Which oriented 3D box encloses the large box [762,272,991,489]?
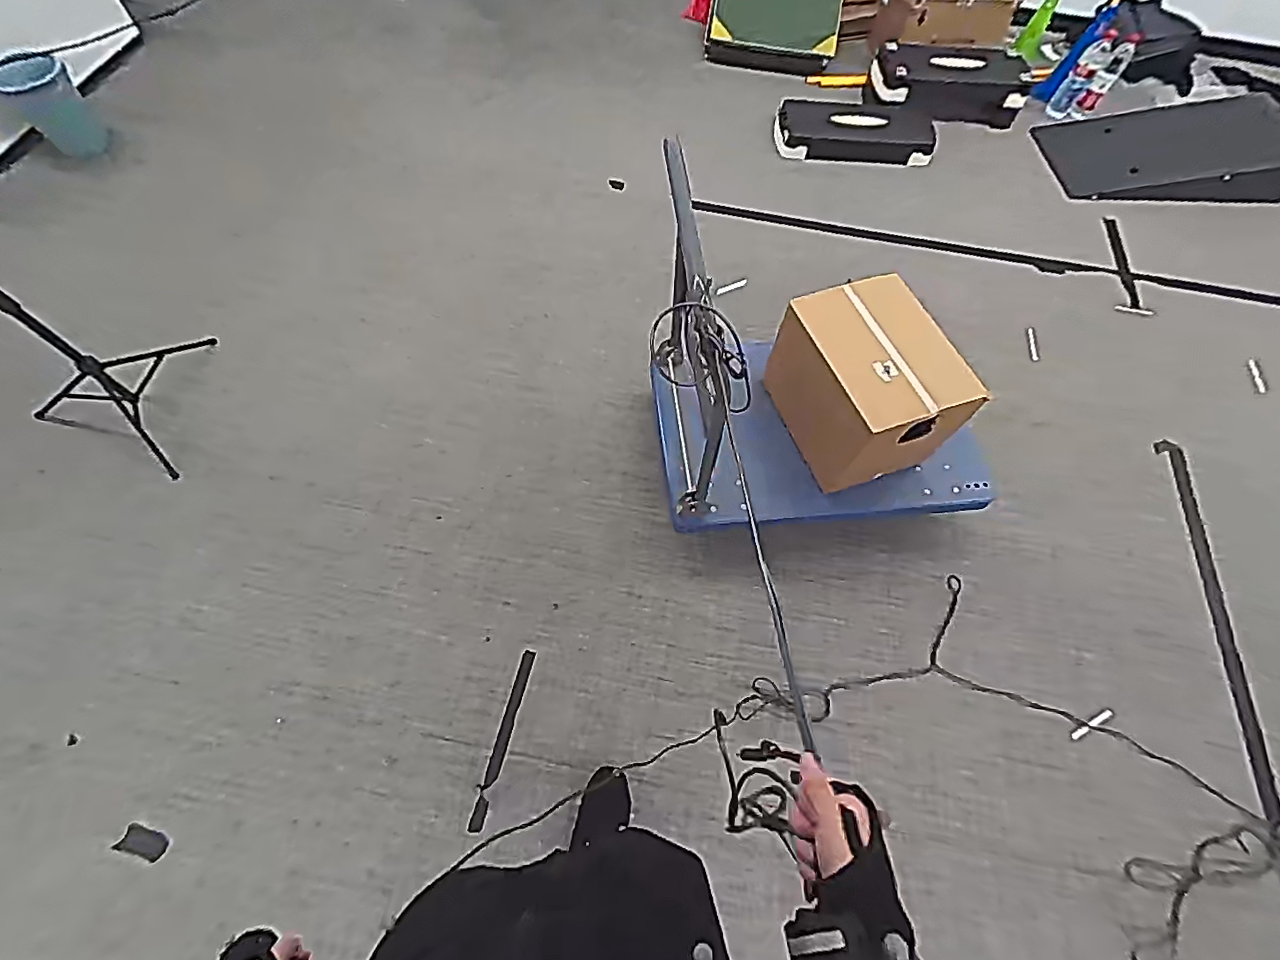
[{"bbox_3d":[0.565,-0.247,1.383,0.320,0.320,0.408,-18,67,-10],"label":"large box"}]
